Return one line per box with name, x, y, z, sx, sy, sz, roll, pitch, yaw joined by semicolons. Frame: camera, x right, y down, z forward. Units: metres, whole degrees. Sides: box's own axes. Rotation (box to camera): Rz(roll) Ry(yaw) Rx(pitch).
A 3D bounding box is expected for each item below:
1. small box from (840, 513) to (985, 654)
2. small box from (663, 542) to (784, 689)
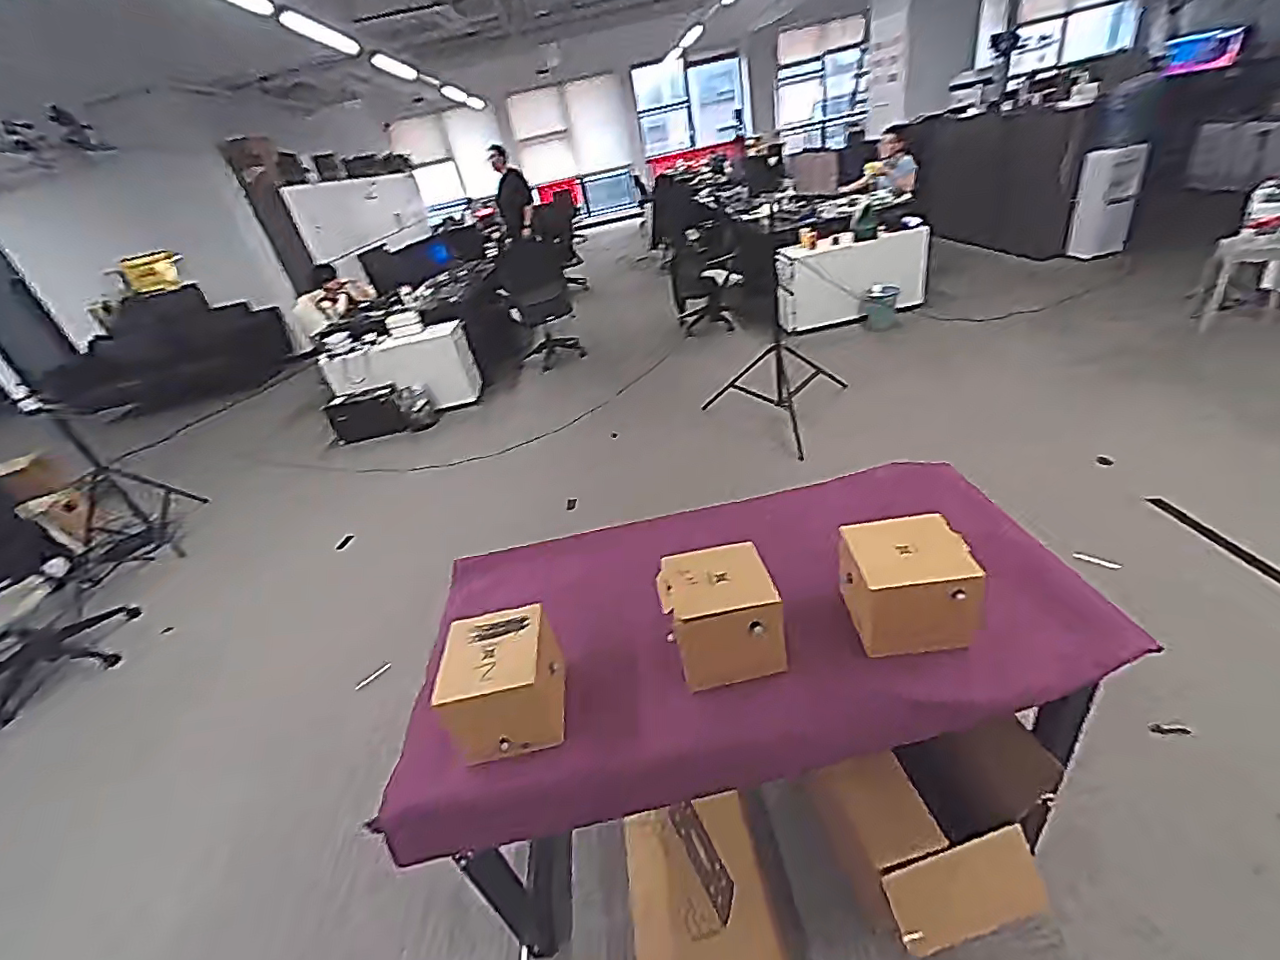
small box;0.462;0.183;0.942;0.179;0.176;0.168;-9;32;6
small box;0.149;0.240;0.962;0.179;0.176;0.168;-13;29;0
